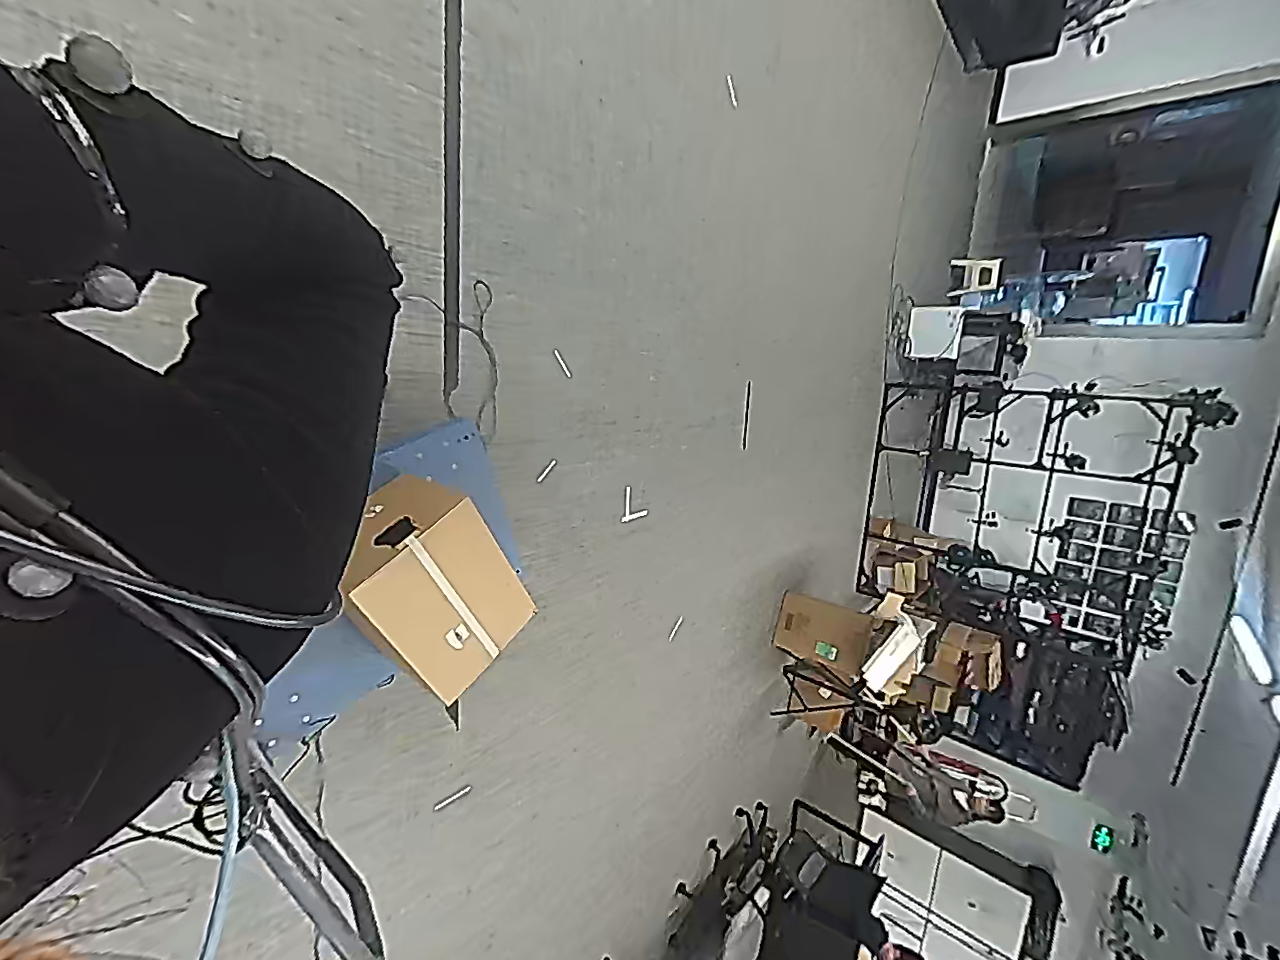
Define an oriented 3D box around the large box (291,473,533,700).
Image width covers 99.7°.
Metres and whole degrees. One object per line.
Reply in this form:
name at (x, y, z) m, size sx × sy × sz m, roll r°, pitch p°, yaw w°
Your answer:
large box at (-0.537, 0.247, 1.320) m, size 0.320 × 0.320 × 0.408 m, roll -46°, pitch 132°, yaw -32°
